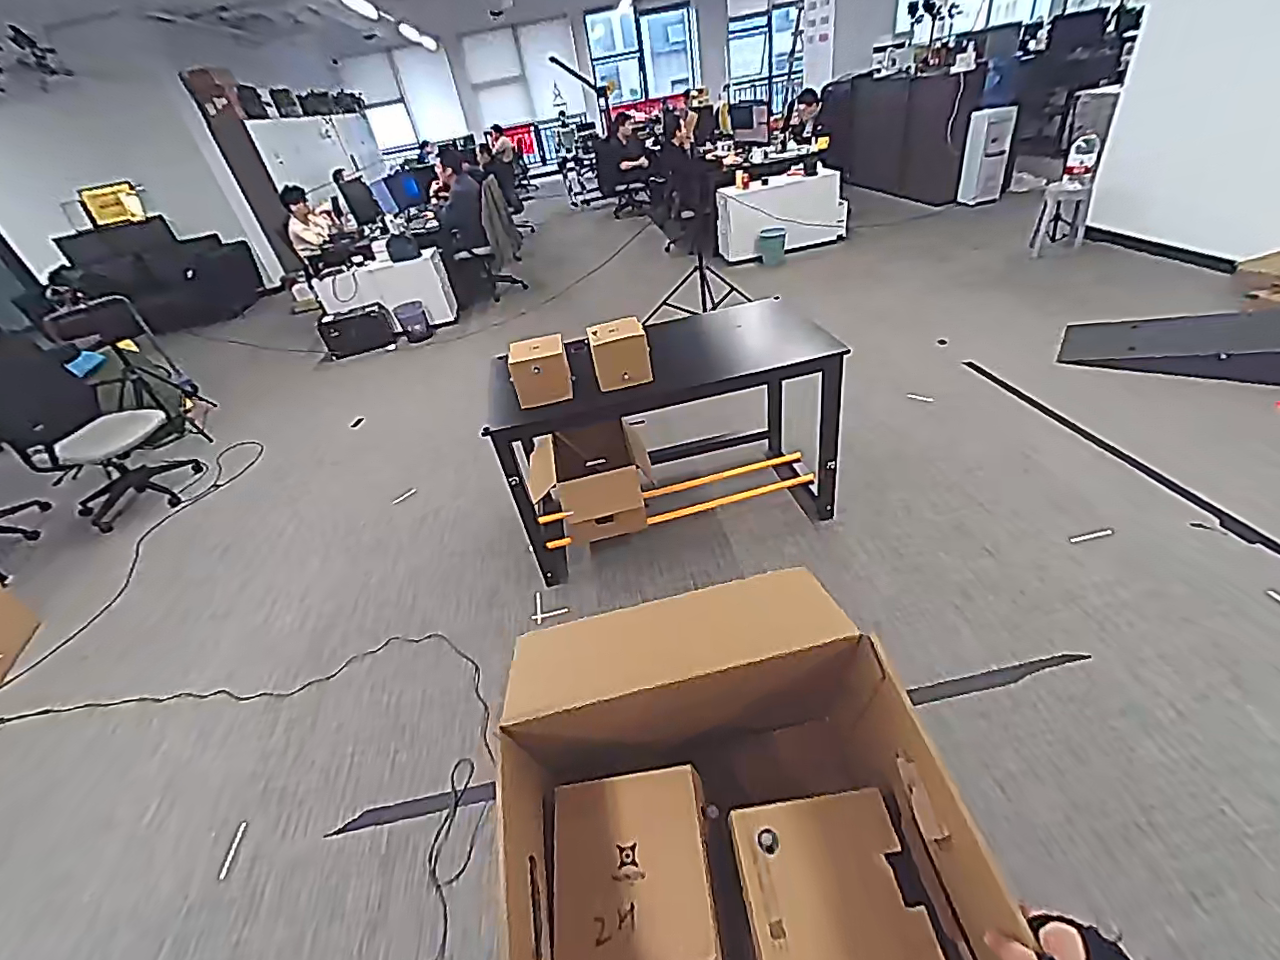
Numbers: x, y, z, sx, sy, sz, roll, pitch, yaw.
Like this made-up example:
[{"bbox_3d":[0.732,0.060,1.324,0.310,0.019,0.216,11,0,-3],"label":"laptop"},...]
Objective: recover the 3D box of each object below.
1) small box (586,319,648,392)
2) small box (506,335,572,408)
[{"bbox_3d":[-0.073,-0.413,1.796,0.179,0.176,0.168,-13,36,-4],"label":"small box"},{"bbox_3d":[-0.330,-0.356,1.787,0.179,0.176,0.168,-12,37,-3],"label":"small box"}]
